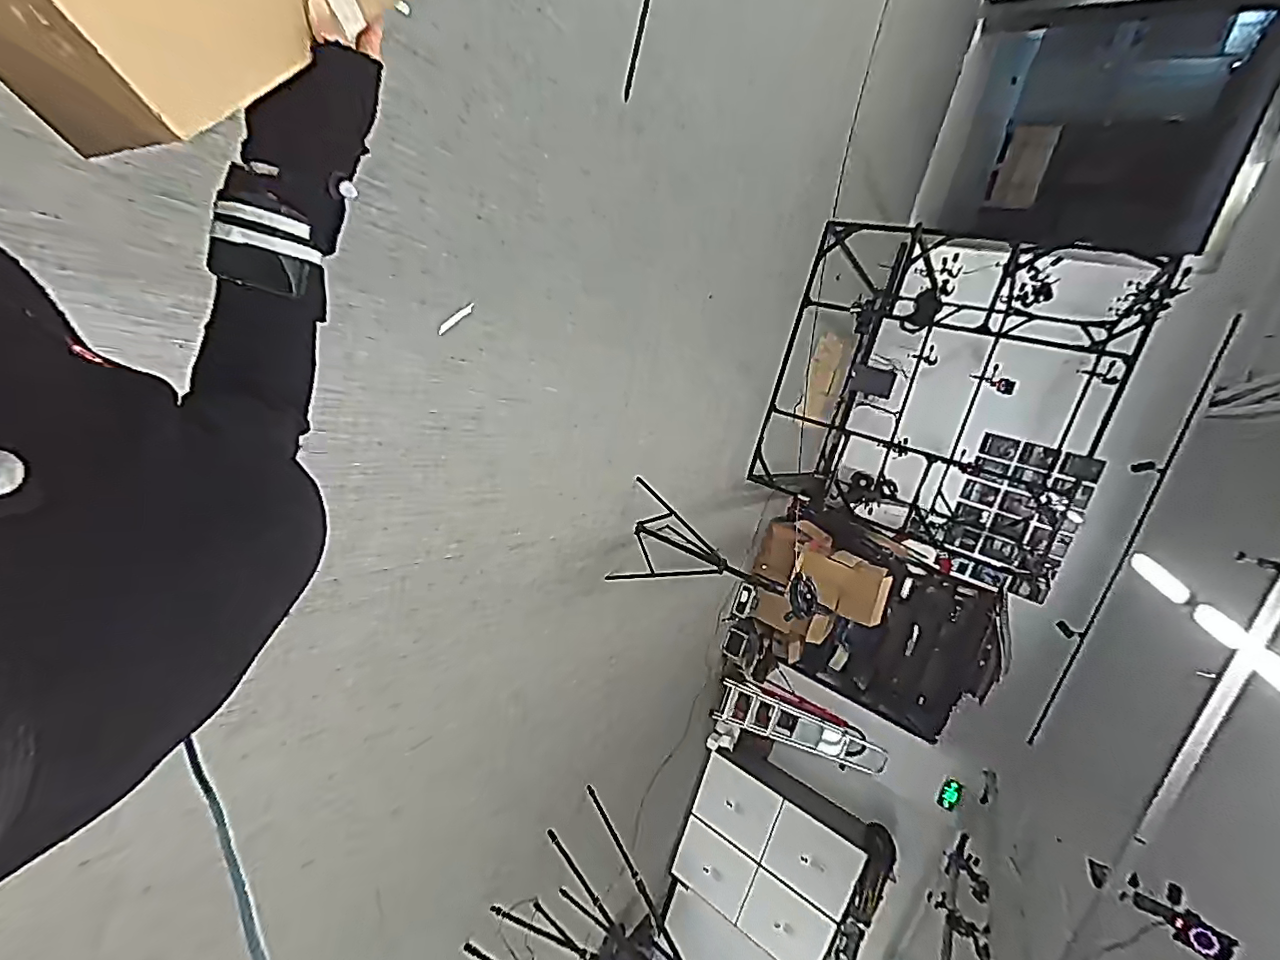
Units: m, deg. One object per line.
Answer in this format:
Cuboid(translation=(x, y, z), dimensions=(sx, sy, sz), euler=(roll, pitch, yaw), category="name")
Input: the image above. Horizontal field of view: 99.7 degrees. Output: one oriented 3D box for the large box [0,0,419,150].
Cuboid(translation=(-0.402, -0.506, 0.356), dimensions=(0.320, 0.320, 0.408), euler=(-54, 144, -21), category="large box")
